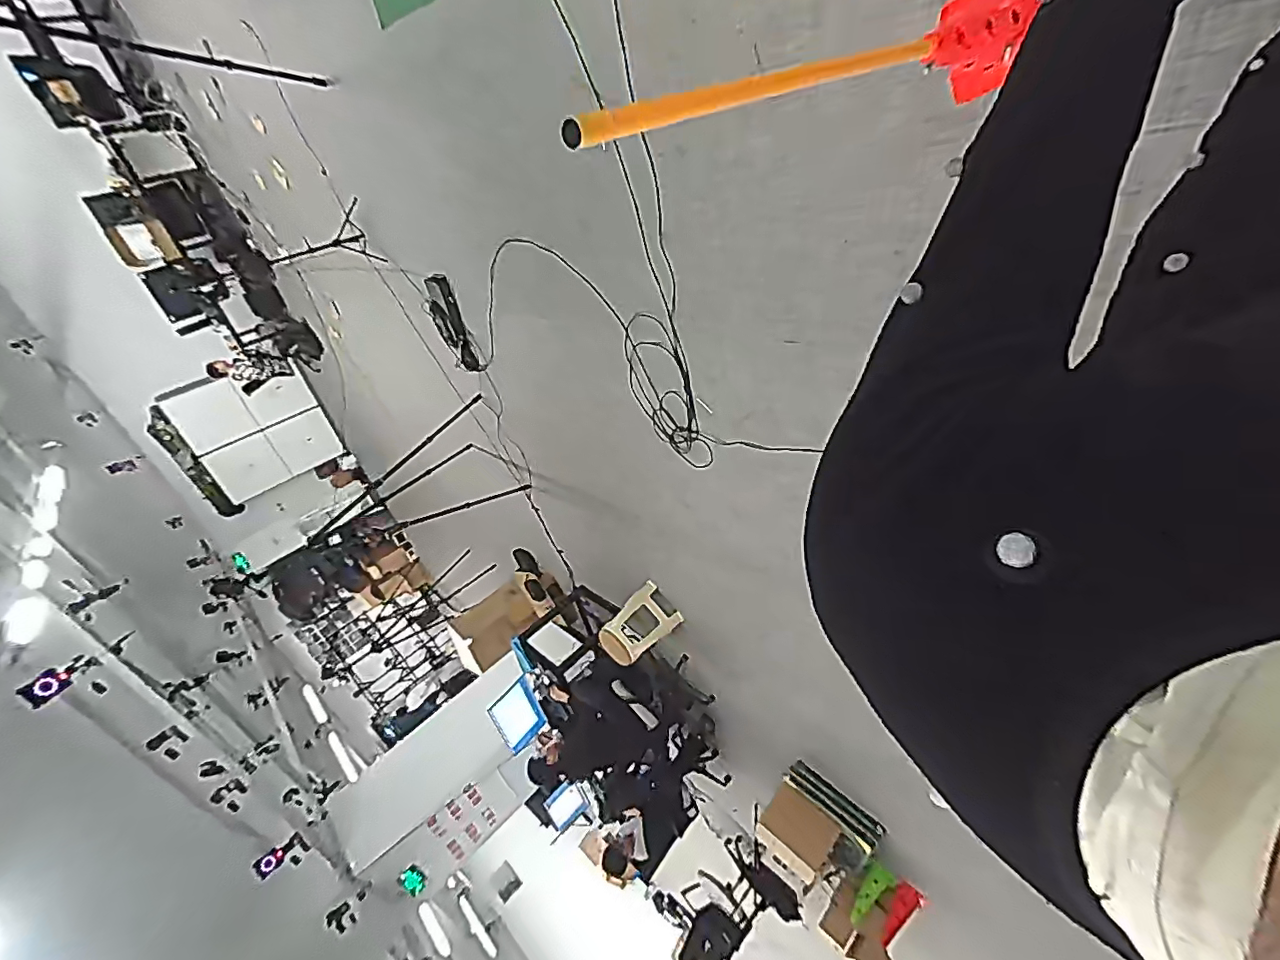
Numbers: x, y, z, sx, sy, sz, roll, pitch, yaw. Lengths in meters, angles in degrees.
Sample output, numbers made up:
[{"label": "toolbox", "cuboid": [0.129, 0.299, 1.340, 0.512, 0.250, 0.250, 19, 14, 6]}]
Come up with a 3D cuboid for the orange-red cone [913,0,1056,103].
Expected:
[{"label": "orange-red cone", "cuboid": [0.618, -0.839, 1.035, 0.199, 0.360, 0.198, 6, 125, 53]}]
